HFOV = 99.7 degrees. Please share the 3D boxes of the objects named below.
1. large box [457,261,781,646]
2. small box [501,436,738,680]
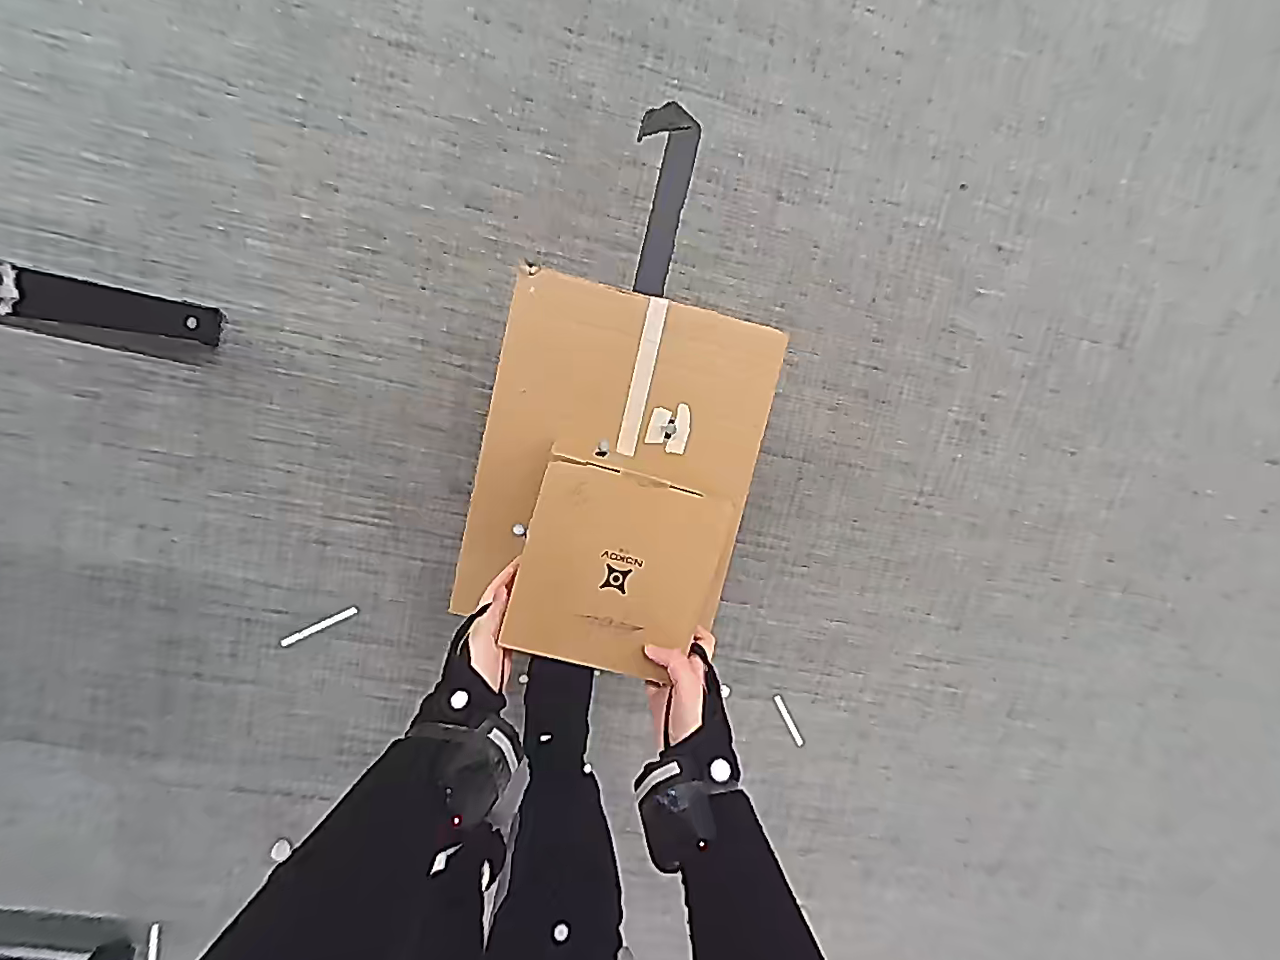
[{"bbox_3d":[-0.039,-0.034,0.772,0.320,0.320,0.408,13,96,-8],"label":"large box"},{"bbox_3d":[-0.026,0.062,0.538,0.168,0.176,0.179,17,97,-8],"label":"small box"}]
